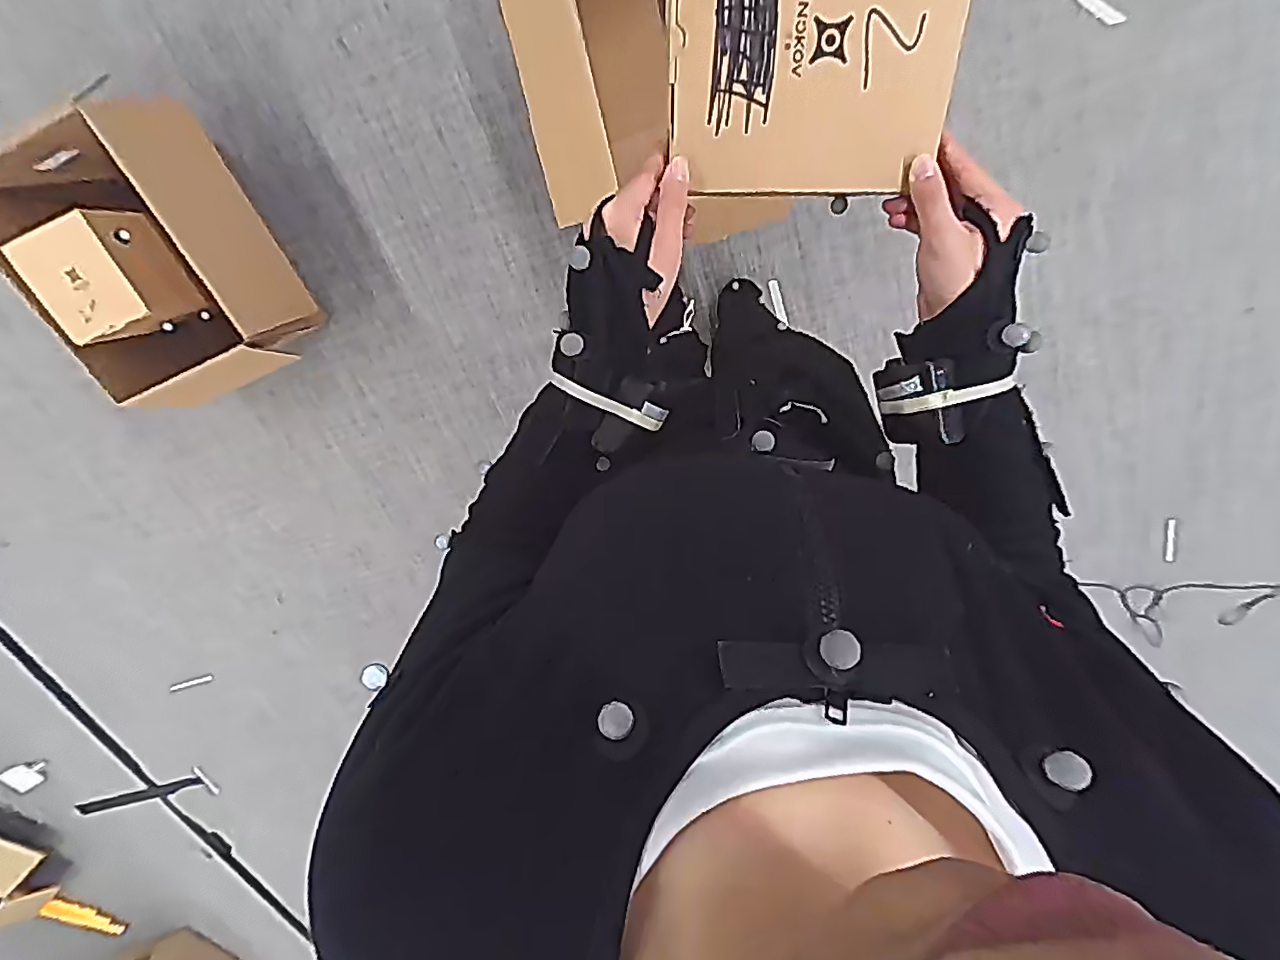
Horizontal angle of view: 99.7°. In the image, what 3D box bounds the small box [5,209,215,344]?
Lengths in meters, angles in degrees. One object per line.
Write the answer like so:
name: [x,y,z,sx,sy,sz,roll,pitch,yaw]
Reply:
small box: [-0.947,-0.368,0.986,0.168,0.176,0.179,-18,112,8]
